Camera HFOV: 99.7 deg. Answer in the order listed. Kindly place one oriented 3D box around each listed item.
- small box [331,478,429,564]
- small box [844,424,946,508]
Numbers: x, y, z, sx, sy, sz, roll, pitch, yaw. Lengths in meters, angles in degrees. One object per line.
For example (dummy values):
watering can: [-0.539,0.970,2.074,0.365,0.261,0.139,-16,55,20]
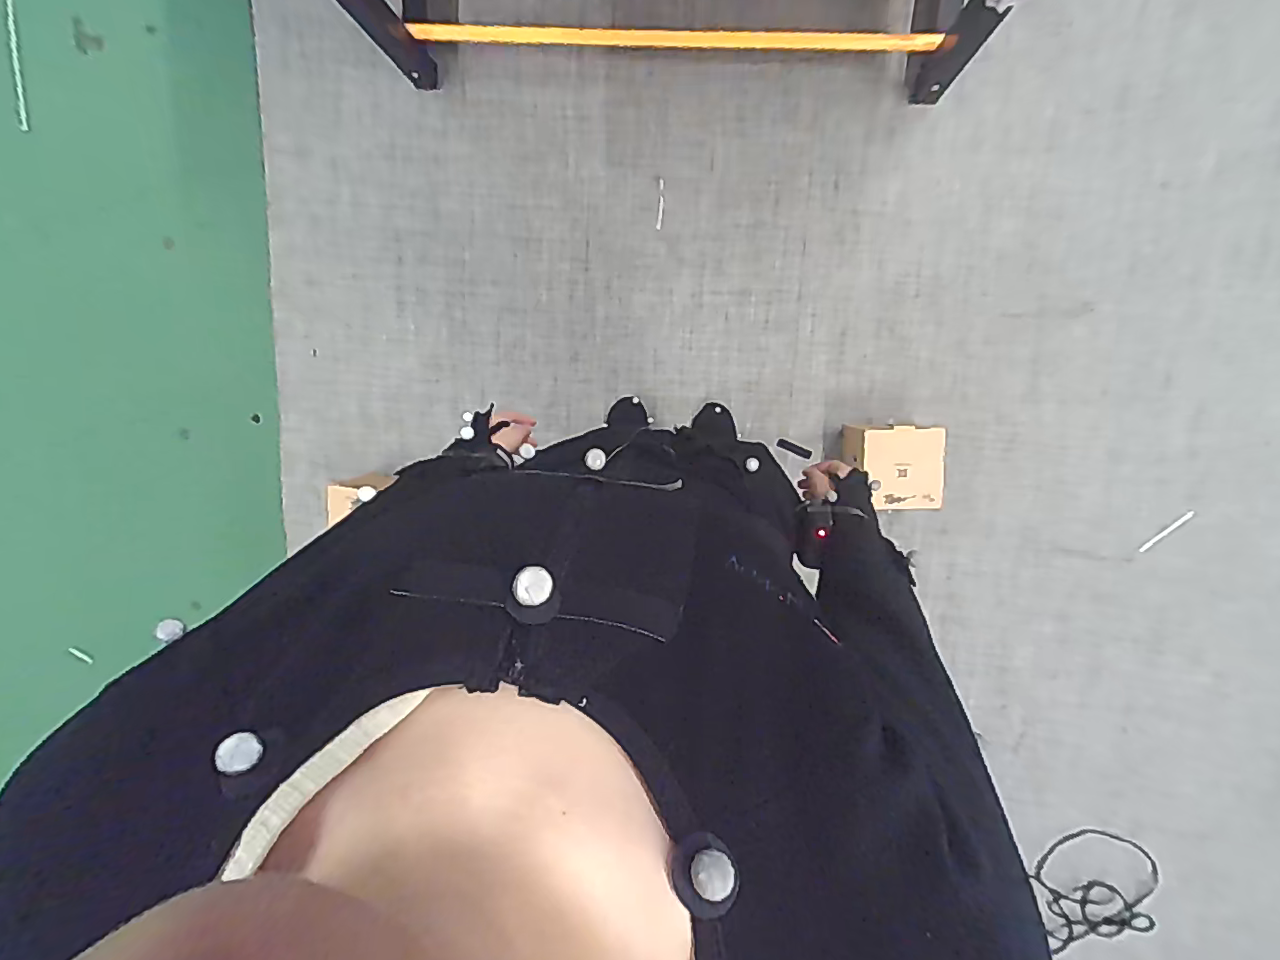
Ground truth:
small box: [-0.650,0.095,1.369,0.168,0.176,0.179,6,100,6]
small box: [0.565,-0.036,1.218,0.168,0.176,0.179,-1,98,6]
